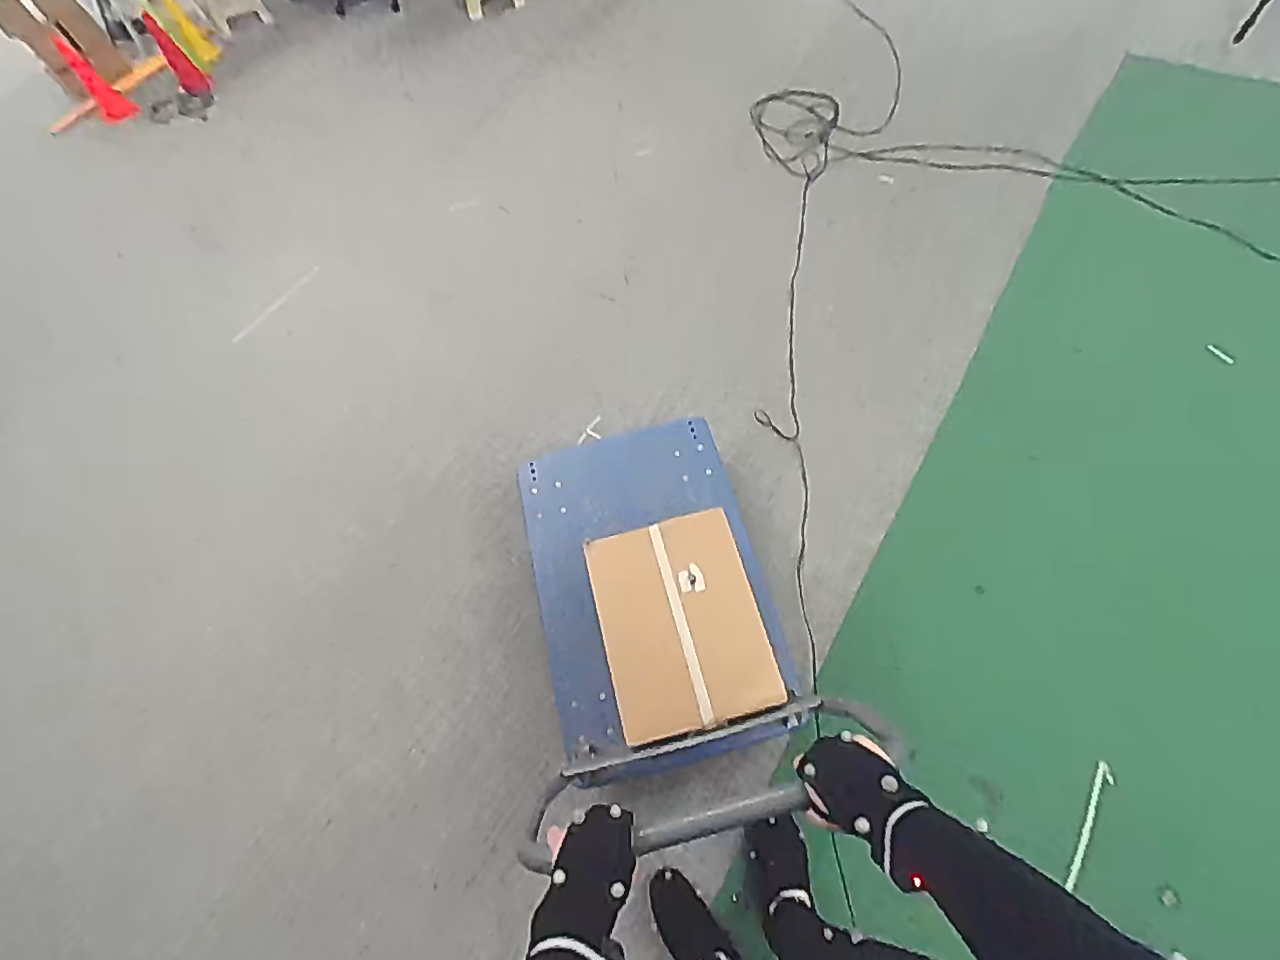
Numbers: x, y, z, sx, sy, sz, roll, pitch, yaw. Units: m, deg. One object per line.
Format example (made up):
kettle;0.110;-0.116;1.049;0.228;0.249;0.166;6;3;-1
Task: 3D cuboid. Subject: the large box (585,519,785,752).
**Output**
large box;0.091;0.358;1.229;0.320;0.320;0.408;-15;65;-3
